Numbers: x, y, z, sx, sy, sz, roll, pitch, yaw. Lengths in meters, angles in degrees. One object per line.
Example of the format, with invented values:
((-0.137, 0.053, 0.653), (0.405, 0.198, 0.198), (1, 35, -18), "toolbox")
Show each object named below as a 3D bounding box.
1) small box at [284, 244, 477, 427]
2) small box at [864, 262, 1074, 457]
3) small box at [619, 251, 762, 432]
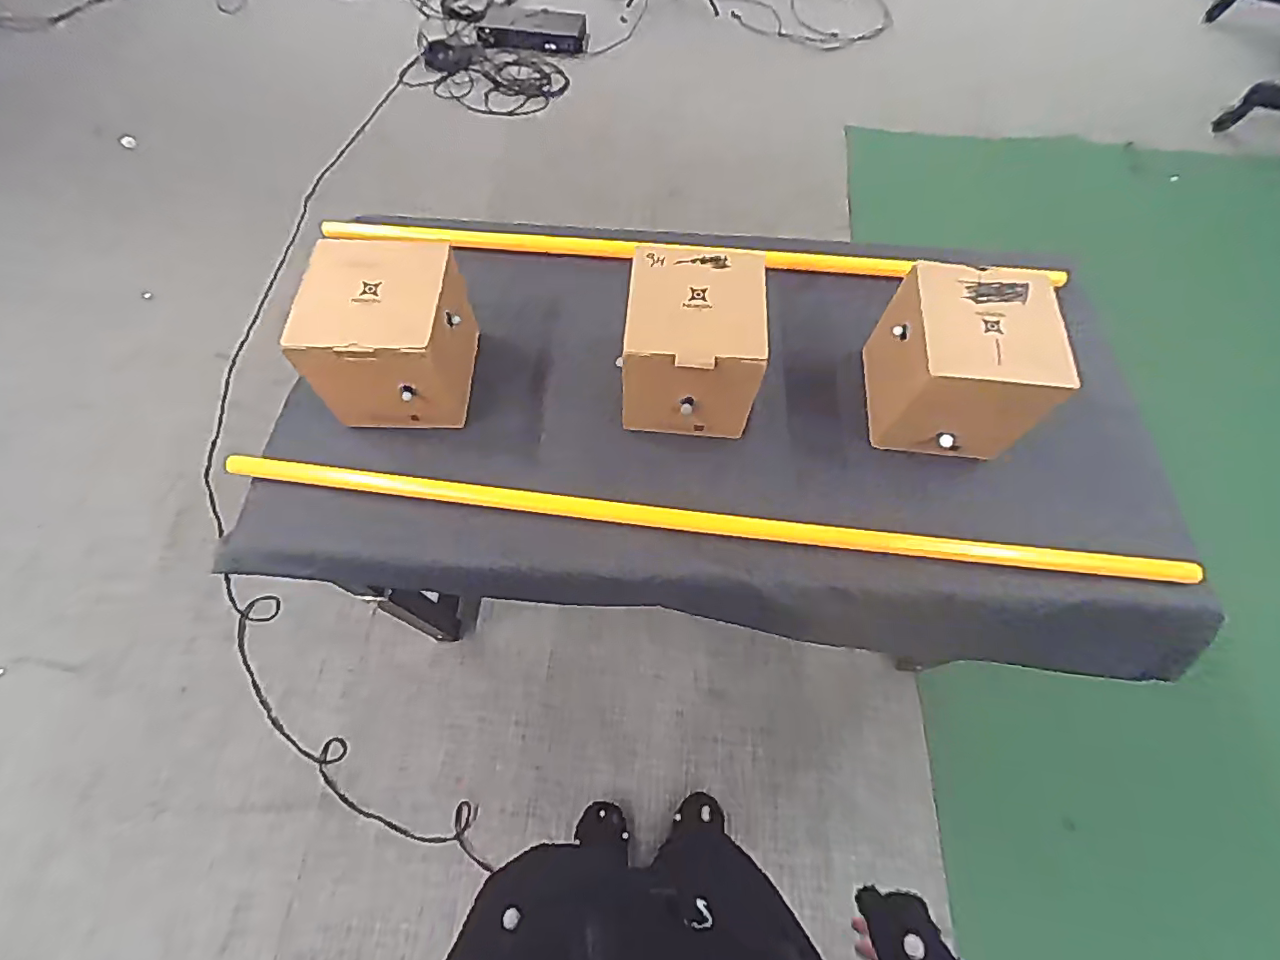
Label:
((-0.323, -0.184, 0.716), (0.168, 0.176, 0.179), (0, 62, -3), "small box")
((0.408, -0.152, 0.708), (0.168, 0.176, 0.179), (6, 64, 2), "small box")
((0.063, -0.177, 0.720), (0.168, 0.176, 0.179), (1, 63, 1), "small box")
